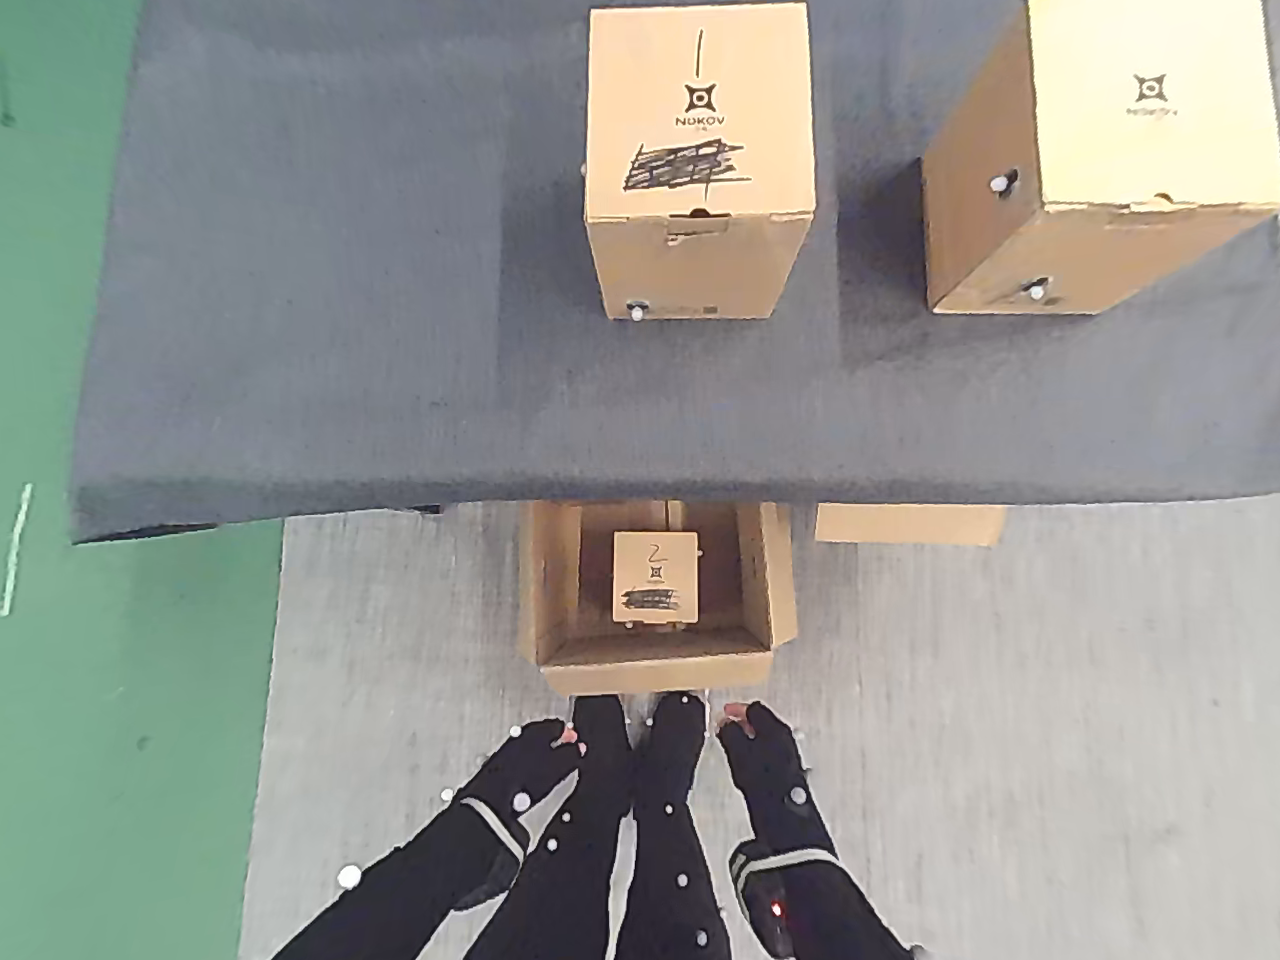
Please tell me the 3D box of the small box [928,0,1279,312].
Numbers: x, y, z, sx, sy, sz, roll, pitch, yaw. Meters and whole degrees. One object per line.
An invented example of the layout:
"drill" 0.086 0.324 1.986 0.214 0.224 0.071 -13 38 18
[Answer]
"small box" 0.369 -0.264 0.463 0.168 0.176 0.179 1 83 3

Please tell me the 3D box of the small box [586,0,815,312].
"small box" 0.048 -0.261 0.474 0.168 0.176 0.179 1 82 2
